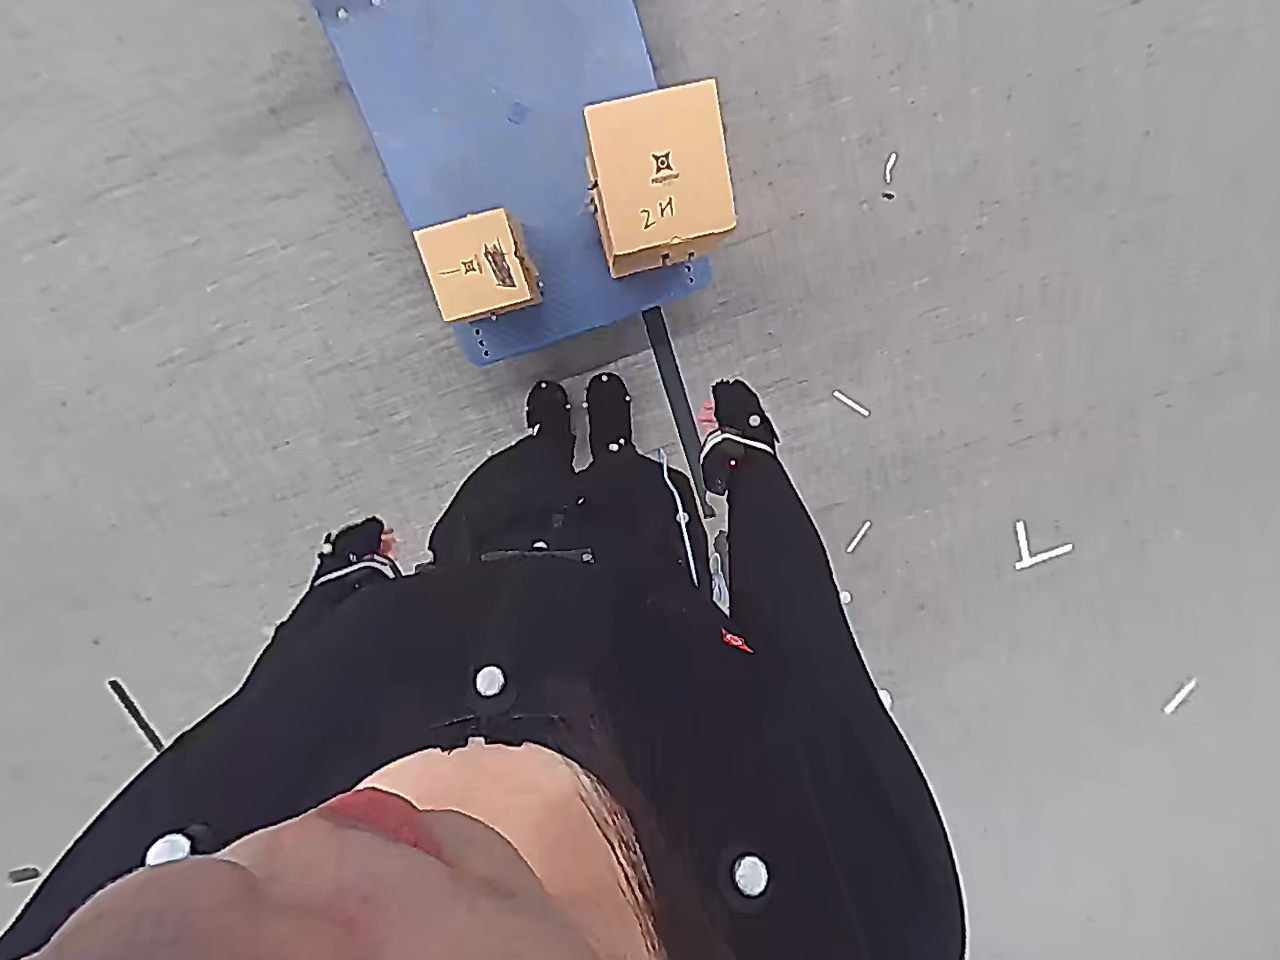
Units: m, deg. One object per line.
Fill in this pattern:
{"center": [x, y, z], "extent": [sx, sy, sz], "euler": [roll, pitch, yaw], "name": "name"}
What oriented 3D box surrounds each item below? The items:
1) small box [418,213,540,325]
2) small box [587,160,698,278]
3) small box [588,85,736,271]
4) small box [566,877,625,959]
{"center": [-0.308, -0.415, 1.081], "extent": [0.179, 0.176, 0.168], "euler": [-14, 107, 2], "name": "small box"}
{"center": [0.016, -0.451, 0.917], "extent": [0.179, 0.176, 0.168], "euler": [-14, 107, 0], "name": "small box"}
{"center": [0.024, -0.407, 0.758], "extent": [0.168, 0.176, 0.179], "euler": [-12, 107, 0], "name": "small box"}
{"center": [-0.152, 1.527, 1.887], "extent": [0.179, 0.176, 0.168], "euler": [-10, 107, 1], "name": "small box"}
